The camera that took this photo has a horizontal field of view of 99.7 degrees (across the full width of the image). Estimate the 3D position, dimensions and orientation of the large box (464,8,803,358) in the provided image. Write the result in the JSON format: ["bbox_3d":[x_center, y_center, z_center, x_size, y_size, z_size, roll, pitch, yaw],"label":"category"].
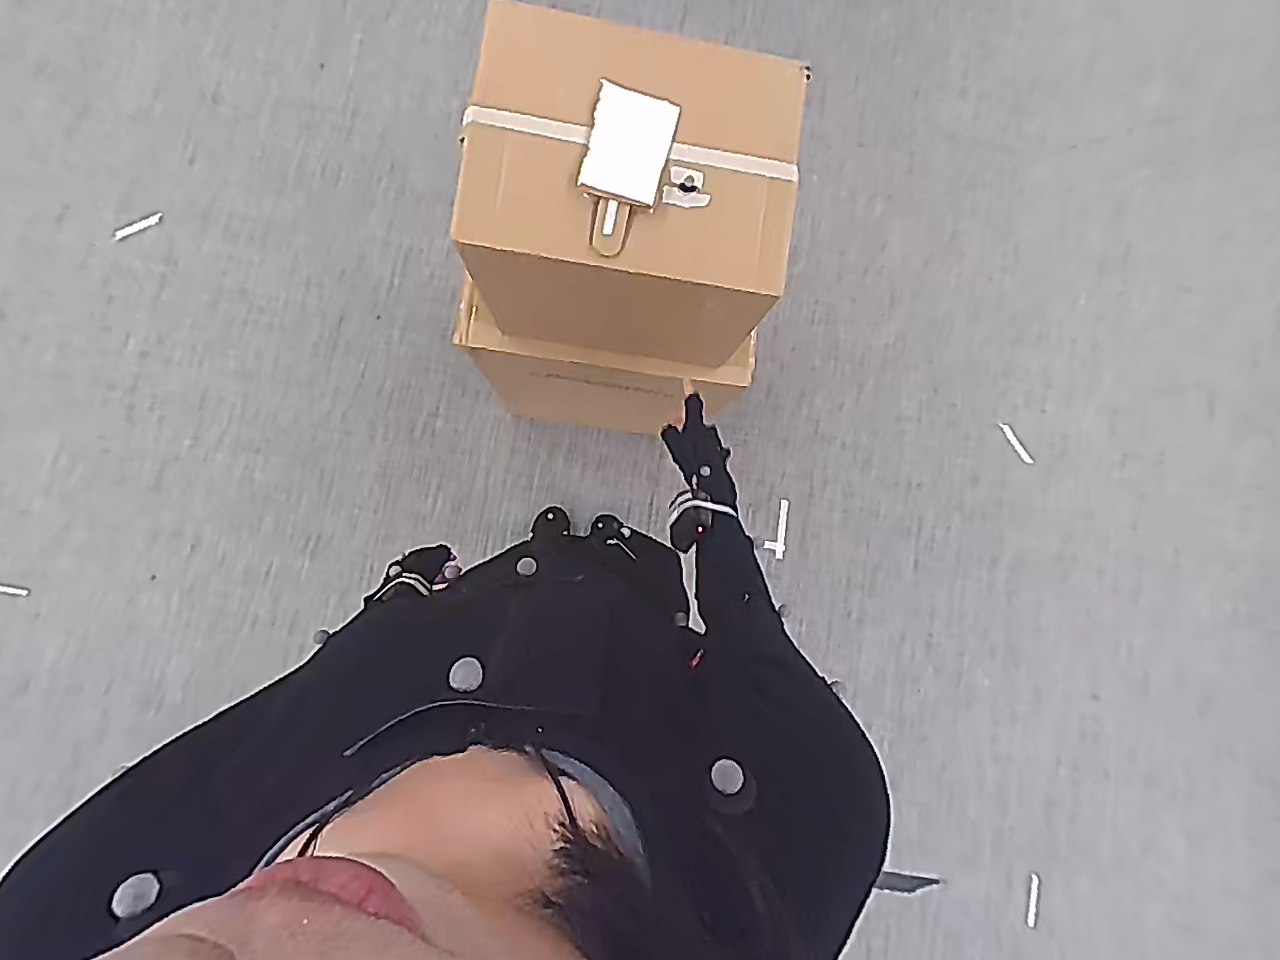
[{"bbox_3d":[-0.016,-0.403,0.823,0.408,0.320,0.320,8,85,-5],"label":"large box"}]
